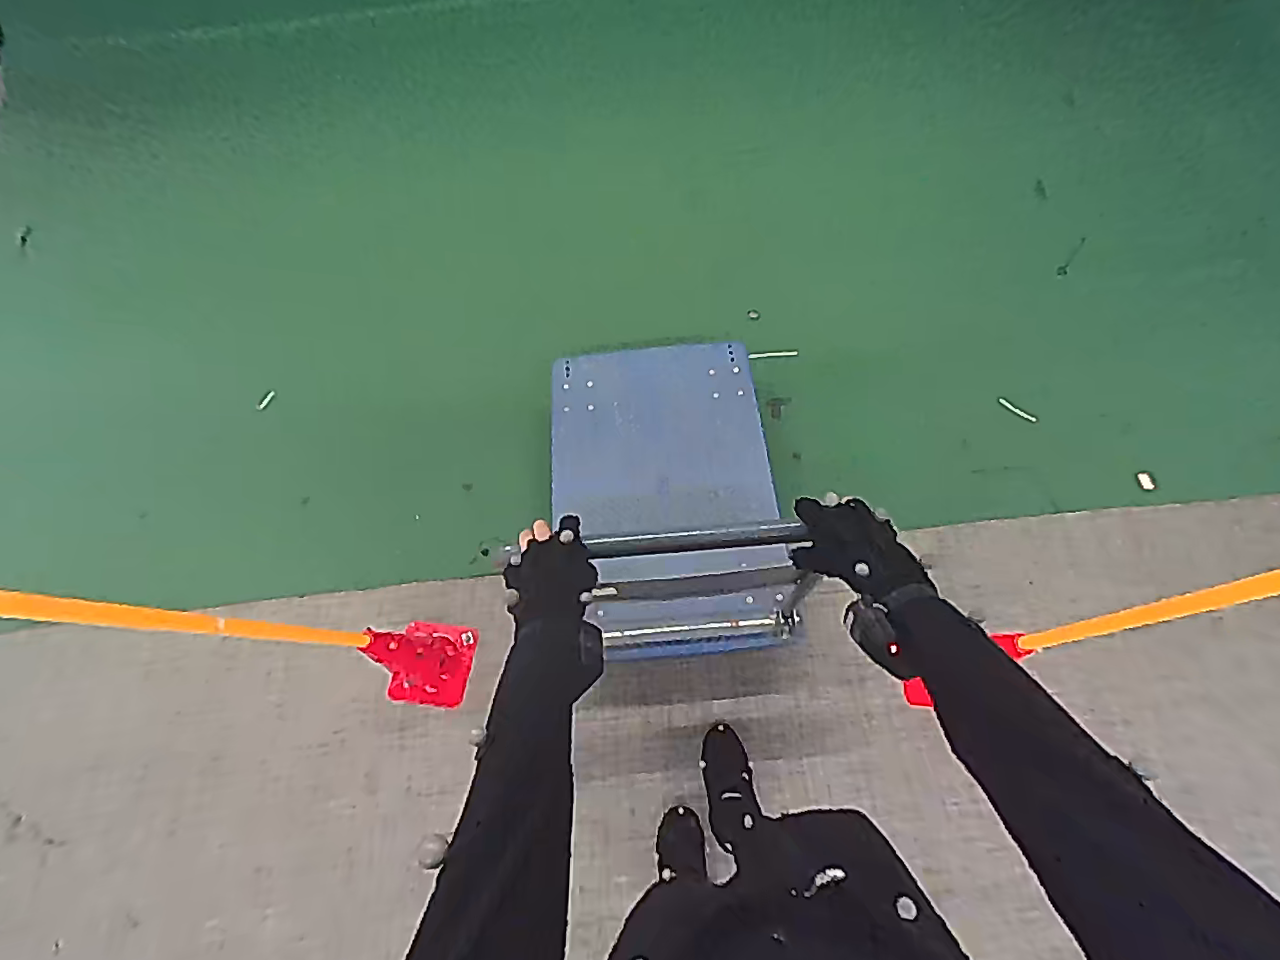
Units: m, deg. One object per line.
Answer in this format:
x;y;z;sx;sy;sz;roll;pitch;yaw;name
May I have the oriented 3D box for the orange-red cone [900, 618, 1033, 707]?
0.743;0.378;1.189;0.198;0.360;0.199;4;66;6;orange-red cone
